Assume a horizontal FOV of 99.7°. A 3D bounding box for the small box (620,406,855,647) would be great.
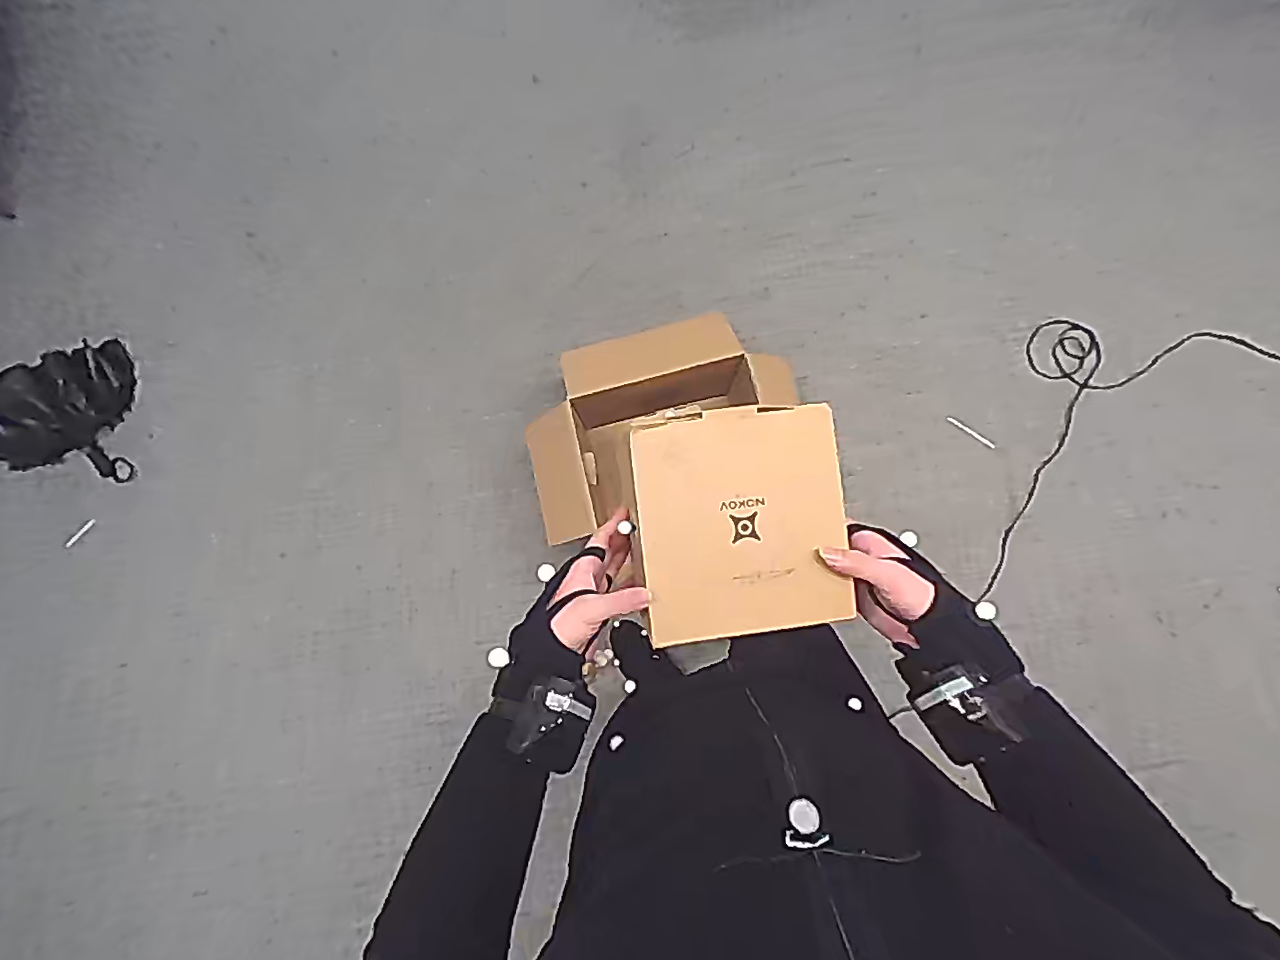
[{"bbox_3d":[0.073,0.038,0.502,0.168,0.176,0.179,-7,89,-5],"label":"small box"}]
